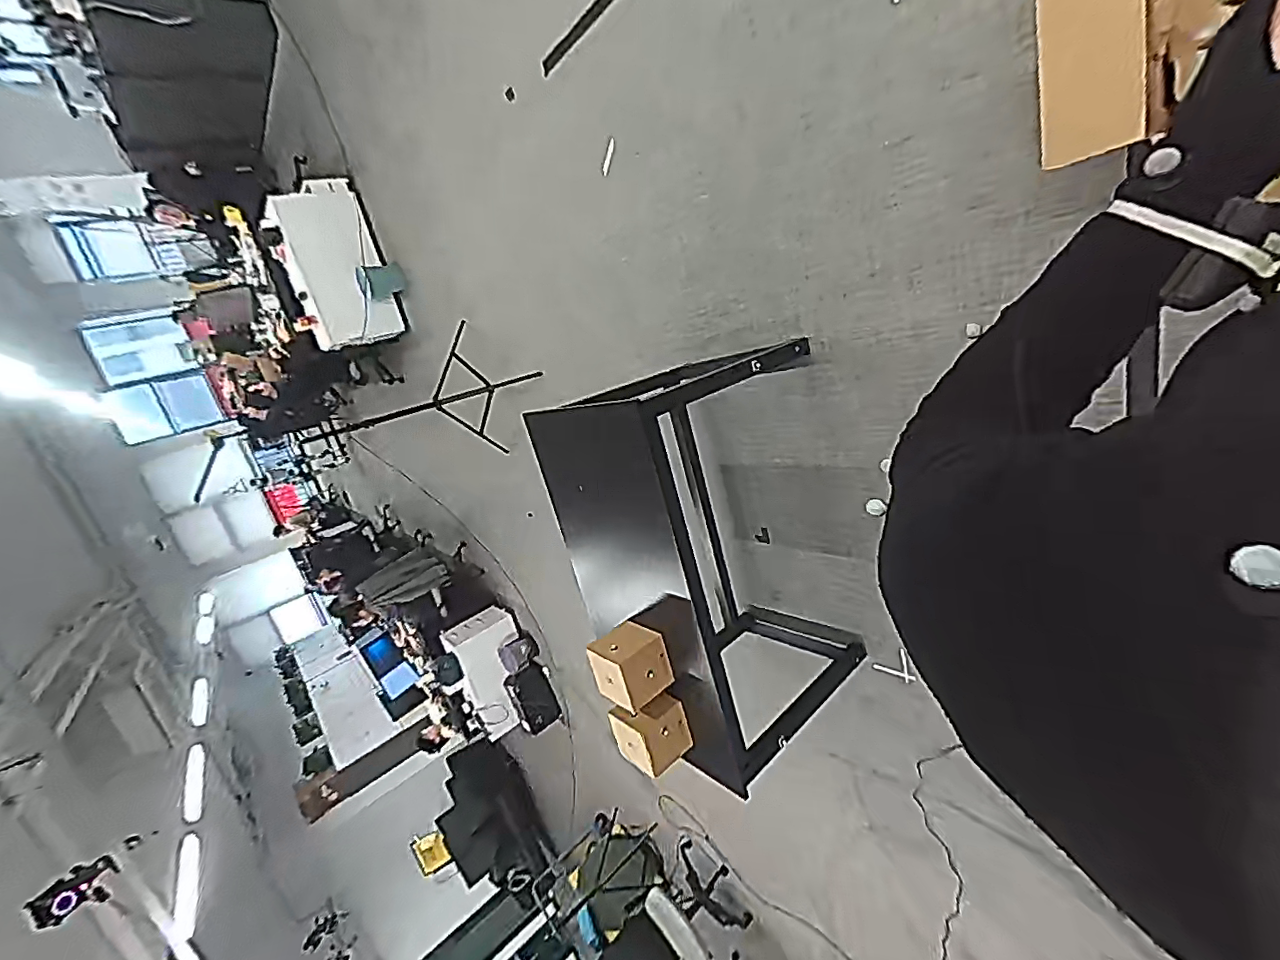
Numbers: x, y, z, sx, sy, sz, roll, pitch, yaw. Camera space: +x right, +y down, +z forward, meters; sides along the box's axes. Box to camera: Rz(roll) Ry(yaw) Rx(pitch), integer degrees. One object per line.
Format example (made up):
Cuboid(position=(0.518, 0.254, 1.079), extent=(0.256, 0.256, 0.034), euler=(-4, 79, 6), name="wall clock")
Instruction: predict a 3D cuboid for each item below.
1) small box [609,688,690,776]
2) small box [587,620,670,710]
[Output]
Cuboid(position=(0.037, 0.767, 1.685), extent=(0.179, 0.176, 0.168), euler=(4, 113, 53), name="small box")
Cuboid(position=(-0.026, 0.545, 1.622), extent=(0.179, 0.176, 0.168), euler=(5, 115, 52), name="small box")
